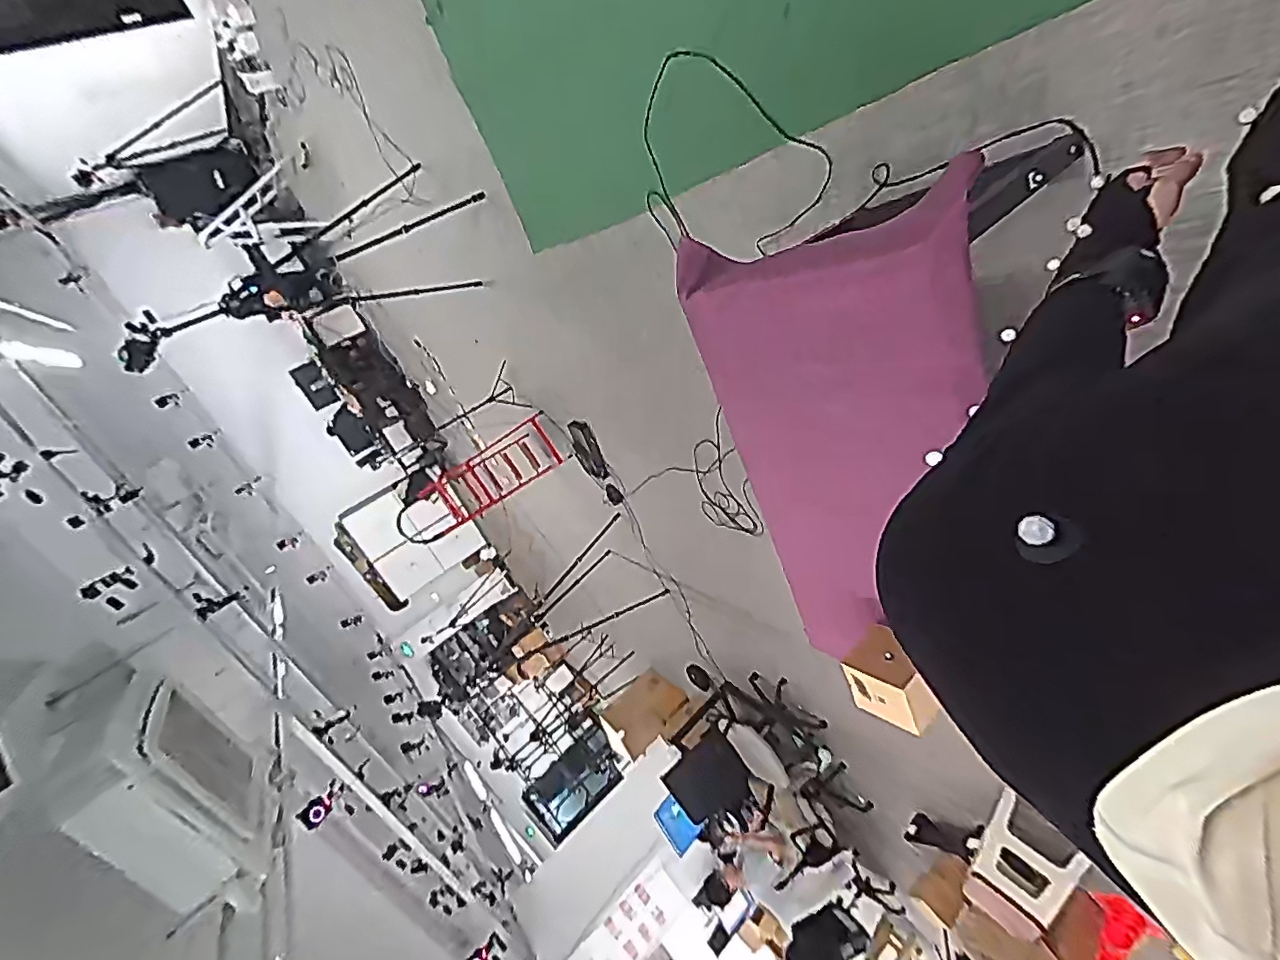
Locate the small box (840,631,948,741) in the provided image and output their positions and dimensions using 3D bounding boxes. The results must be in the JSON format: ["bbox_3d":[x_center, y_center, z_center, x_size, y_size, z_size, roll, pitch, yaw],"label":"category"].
[{"bbox_3d":[0.651,0.516,1.385,0.179,0.176,0.168,8,129,55],"label":"small box"}]
